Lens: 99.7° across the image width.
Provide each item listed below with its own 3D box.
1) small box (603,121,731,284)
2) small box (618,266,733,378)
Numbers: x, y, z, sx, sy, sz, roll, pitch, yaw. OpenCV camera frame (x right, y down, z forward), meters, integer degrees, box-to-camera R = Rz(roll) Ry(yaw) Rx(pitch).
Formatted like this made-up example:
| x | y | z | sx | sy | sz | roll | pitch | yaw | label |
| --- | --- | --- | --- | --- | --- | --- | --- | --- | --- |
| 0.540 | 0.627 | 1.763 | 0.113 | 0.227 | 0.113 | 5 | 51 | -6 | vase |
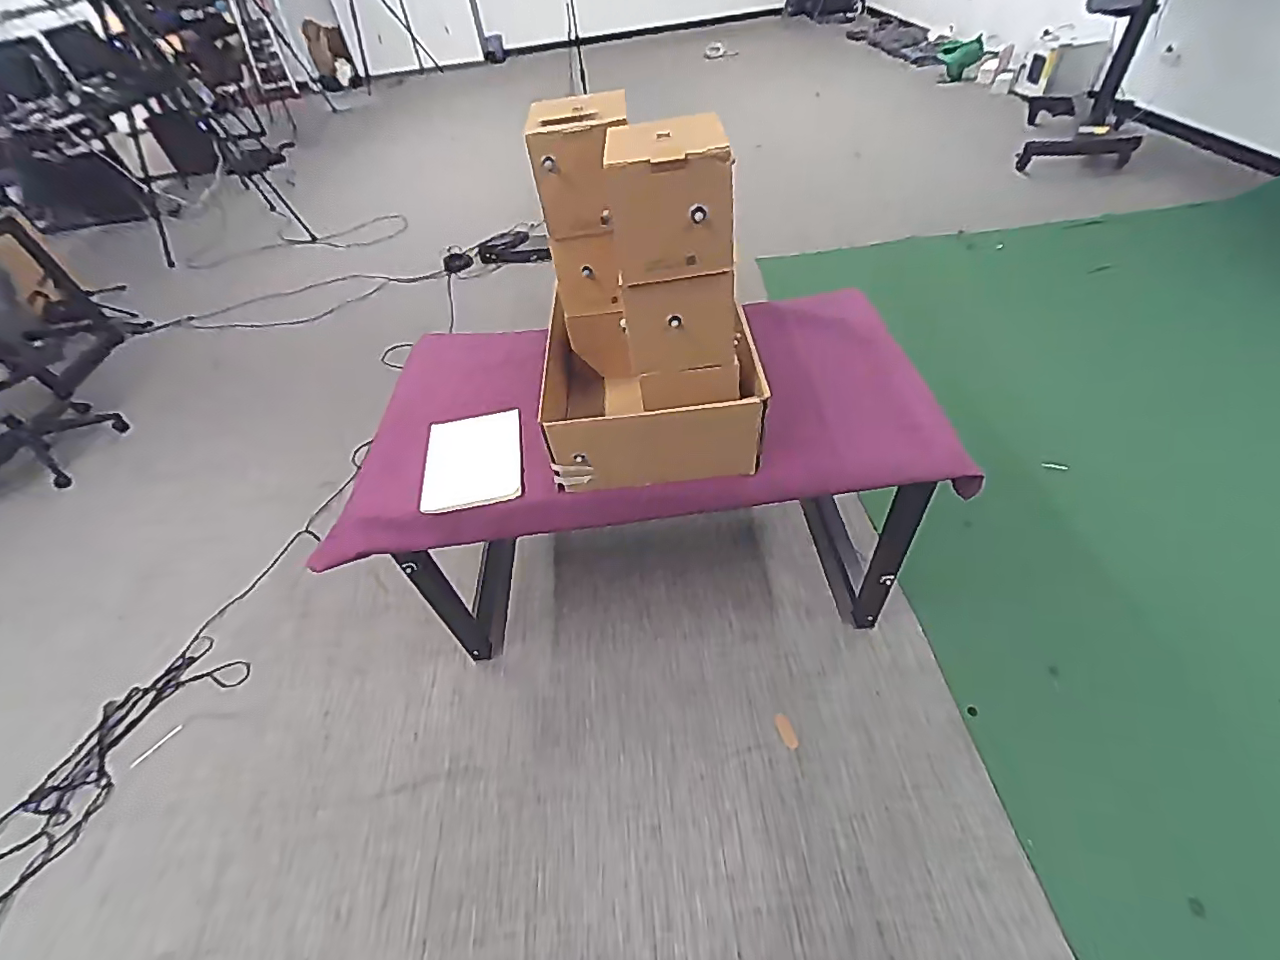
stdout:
| x | y | z | sx | sy | sz | roll | pitch | yaw | label |
| --- | --- | --- | --- | --- | --- | --- | --- | --- | --- |
| 0.044 | -0.406 | 0.807 | 0.168 | 0.176 | 0.179 | -5 | 45 | 5 | small box |
| 0.063 | -0.294 | 0.924 | 0.179 | 0.176 | 0.168 | -6 | 45 | 6 | small box |
